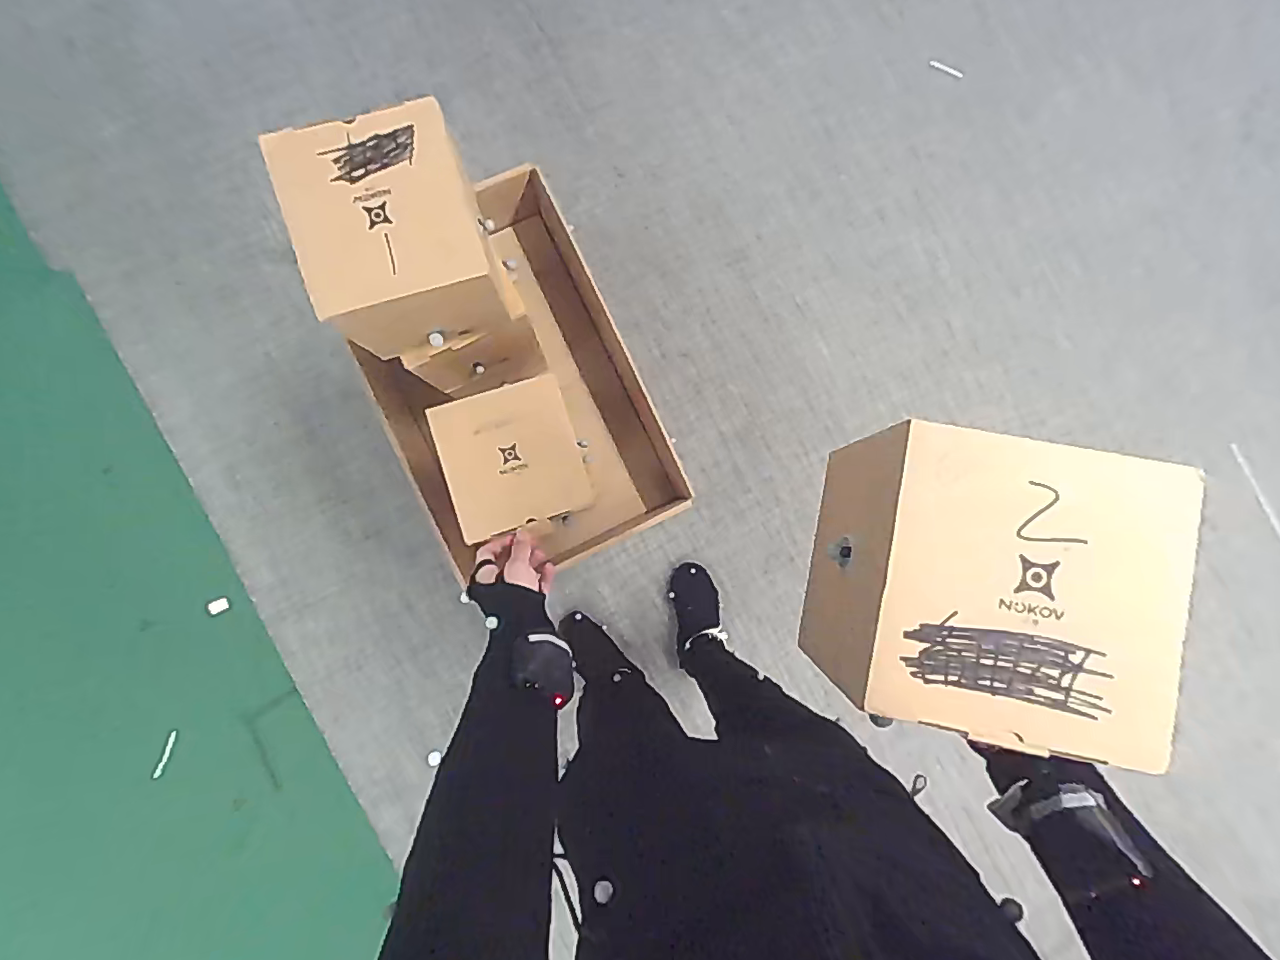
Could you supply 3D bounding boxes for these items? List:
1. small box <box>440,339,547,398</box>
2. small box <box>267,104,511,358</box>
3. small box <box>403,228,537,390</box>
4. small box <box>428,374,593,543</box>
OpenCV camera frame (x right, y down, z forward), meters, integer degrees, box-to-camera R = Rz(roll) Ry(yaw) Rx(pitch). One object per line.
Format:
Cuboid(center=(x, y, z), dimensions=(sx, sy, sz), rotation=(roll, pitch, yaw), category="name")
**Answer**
Cuboid(center=(-0.271, -0.246, 0.913), dimensions=(0.168, 0.176, 0.179), rotation=(-26, 91, -4), category="small box")
Cuboid(center=(-0.252, -0.253, 0.587), dimensions=(0.168, 0.176, 0.179), rotation=(-17, 91, -5), category="small box")
Cuboid(center=(-0.258, -0.247, 0.752), dimensions=(0.168, 0.176, 0.179), rotation=(-27, 91, -5), category="small box")
Cuboid(center=(-0.164, -0.023, 0.743), dimensions=(0.168, 0.176, 0.179), rotation=(-17, 86, -5), category="small box")
